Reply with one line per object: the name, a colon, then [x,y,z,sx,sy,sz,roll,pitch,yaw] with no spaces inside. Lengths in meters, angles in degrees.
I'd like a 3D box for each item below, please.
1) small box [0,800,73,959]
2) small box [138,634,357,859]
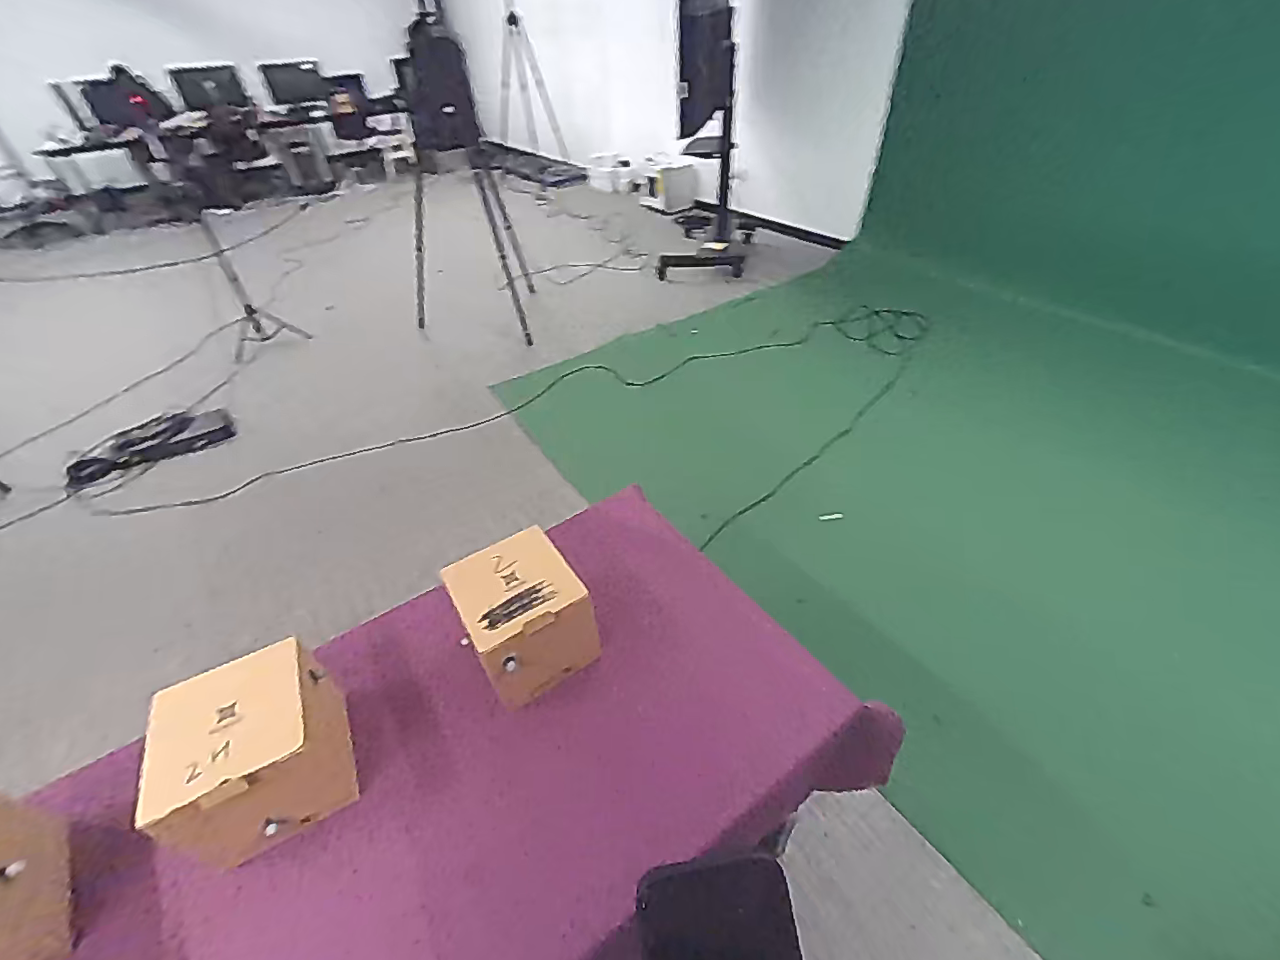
small box: [-0.769,0.472,0.581,0.168,0.176,0.179,-30,49,-28]
small box: [-0.495,0.345,0.706,0.168,0.176,0.179,-22,45,-19]
